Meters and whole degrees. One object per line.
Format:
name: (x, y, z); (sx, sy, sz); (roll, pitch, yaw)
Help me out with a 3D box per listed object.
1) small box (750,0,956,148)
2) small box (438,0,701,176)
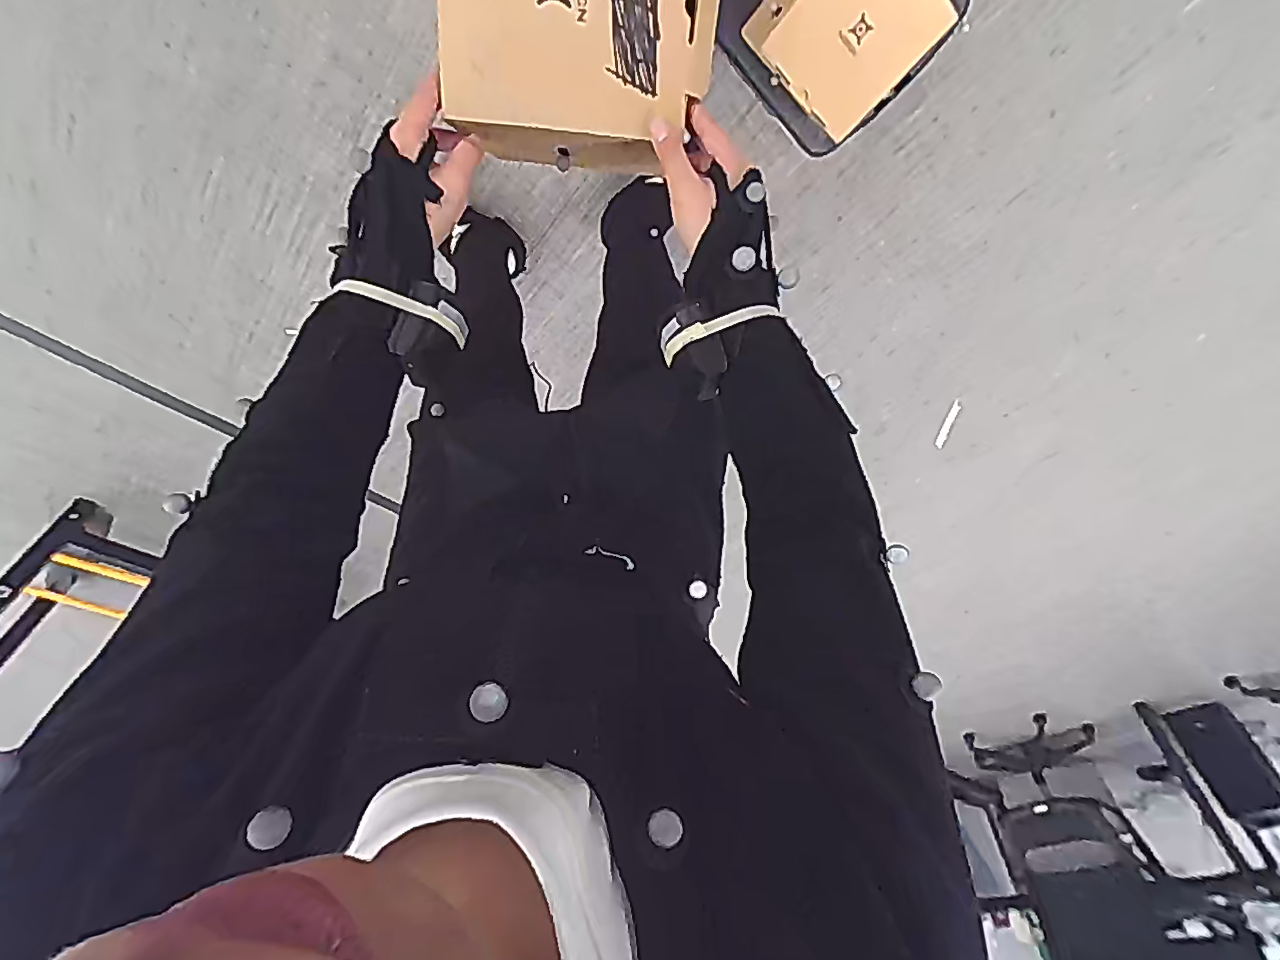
small box: (0.267, -0.596, 0.718); (0.168, 0.176, 0.179); (31, 128, -27)
small box: (-0.047, -0.351, 0.430); (0.179, 0.176, 0.168); (5, 112, -2)
